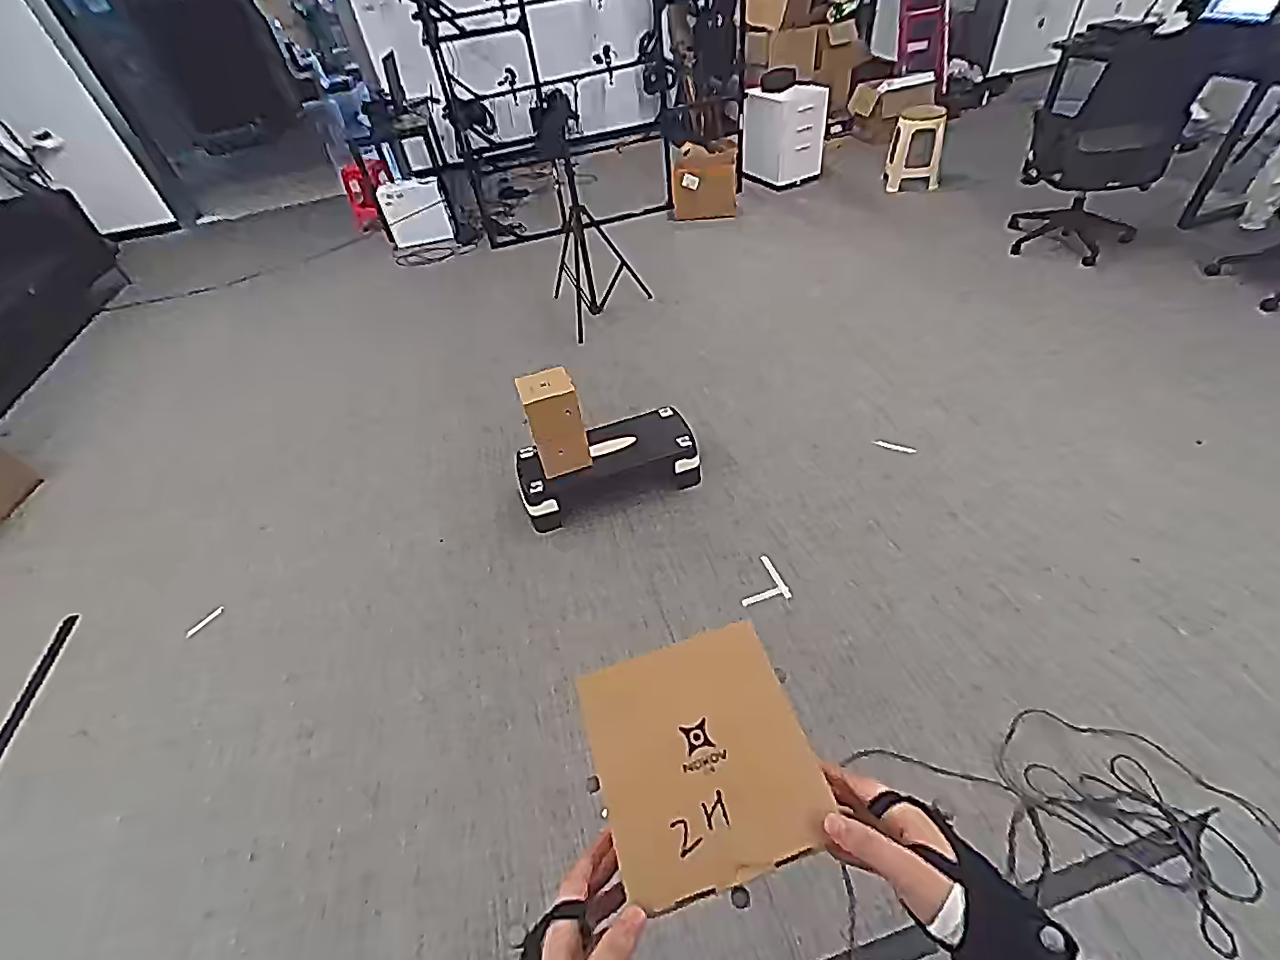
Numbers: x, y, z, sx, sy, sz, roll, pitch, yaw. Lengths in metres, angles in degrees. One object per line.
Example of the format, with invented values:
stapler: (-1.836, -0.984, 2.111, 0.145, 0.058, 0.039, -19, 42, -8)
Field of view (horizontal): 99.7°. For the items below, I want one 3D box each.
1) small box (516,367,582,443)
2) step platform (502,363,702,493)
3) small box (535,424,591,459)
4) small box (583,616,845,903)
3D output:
small box: (-0.304, -0.252, 1.836, 0.179, 0.176, 0.168, -19, 45, -10)
step platform: (-0.128, -0.188, 1.924, 0.684, 0.204, 0.286, -17, 45, -8)
small box: (-0.285, -0.138, 1.952, 0.179, 0.176, 0.168, -19, 46, -9)
small box: (0.056, 0.258, 0.497, 0.168, 0.176, 0.179, -17, 52, -6)
